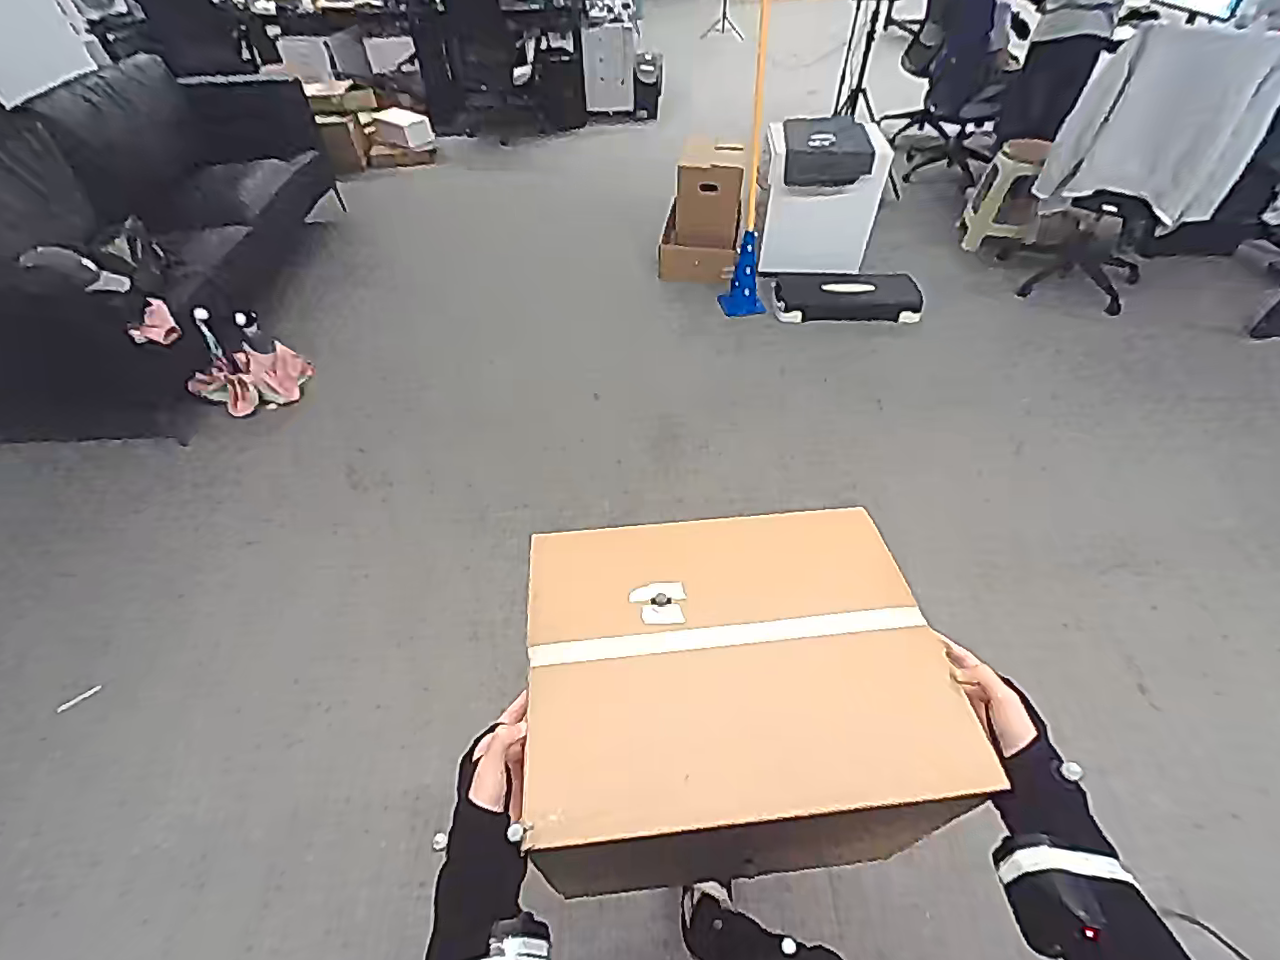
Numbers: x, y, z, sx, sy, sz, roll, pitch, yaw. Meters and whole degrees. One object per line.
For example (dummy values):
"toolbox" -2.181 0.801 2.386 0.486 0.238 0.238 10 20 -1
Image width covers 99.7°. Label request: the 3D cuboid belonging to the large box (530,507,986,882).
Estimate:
"large box" 0.094 0.263 0.663 0.408 0.320 0.320 -5 47 -4
